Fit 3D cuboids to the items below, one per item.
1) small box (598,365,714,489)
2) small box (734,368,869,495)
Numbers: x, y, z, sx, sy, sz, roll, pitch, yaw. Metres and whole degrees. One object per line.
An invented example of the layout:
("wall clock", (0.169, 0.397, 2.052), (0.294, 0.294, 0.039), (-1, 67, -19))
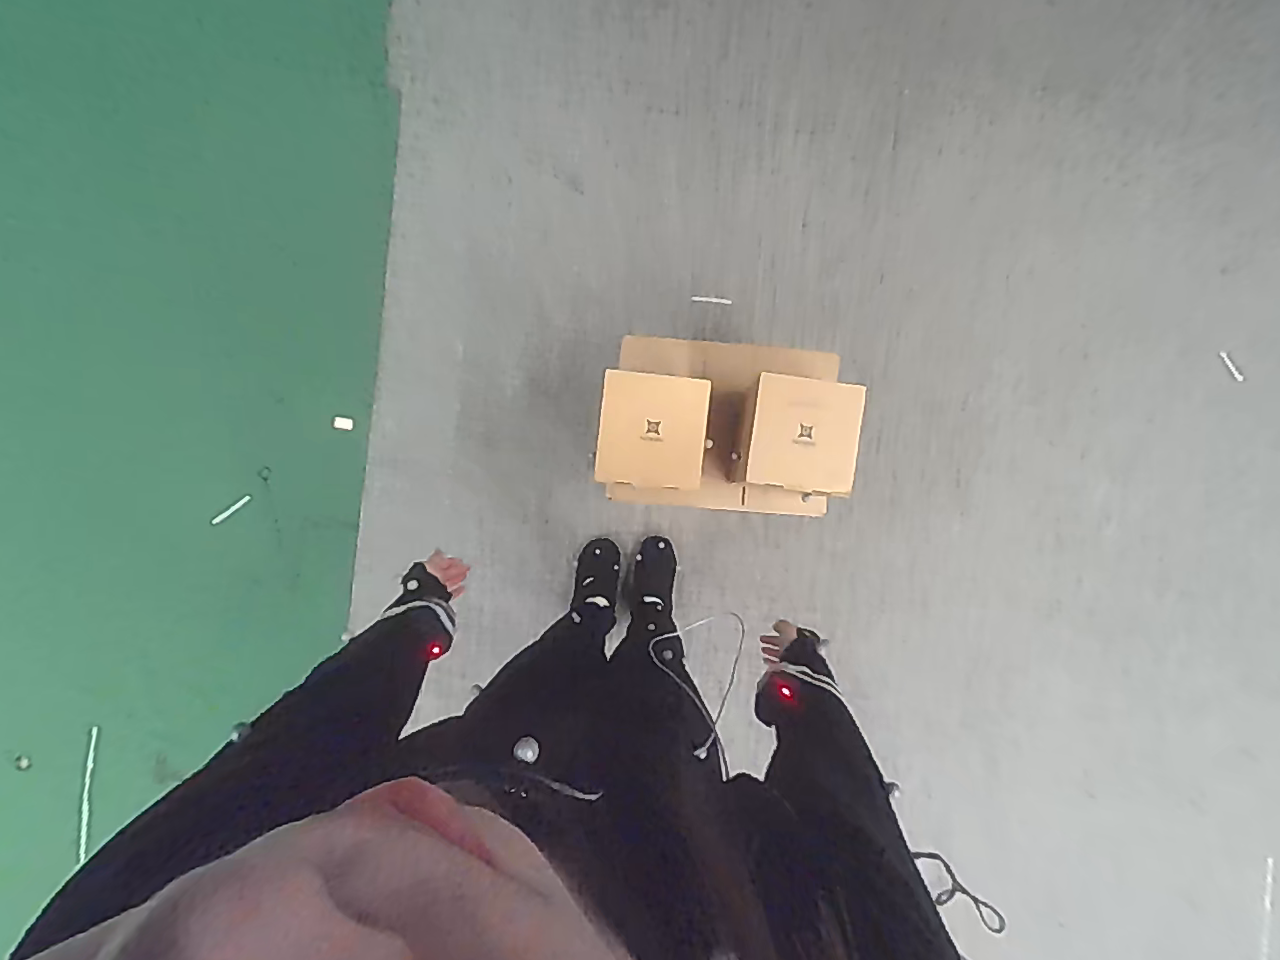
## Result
("small box", (0.021, -0.083, 0.906), (0.168, 0.176, 0.179), (6, 92, -2))
("small box", (0.258, -0.074, 0.905), (0.168, 0.176, 0.179), (9, 89, 1))
